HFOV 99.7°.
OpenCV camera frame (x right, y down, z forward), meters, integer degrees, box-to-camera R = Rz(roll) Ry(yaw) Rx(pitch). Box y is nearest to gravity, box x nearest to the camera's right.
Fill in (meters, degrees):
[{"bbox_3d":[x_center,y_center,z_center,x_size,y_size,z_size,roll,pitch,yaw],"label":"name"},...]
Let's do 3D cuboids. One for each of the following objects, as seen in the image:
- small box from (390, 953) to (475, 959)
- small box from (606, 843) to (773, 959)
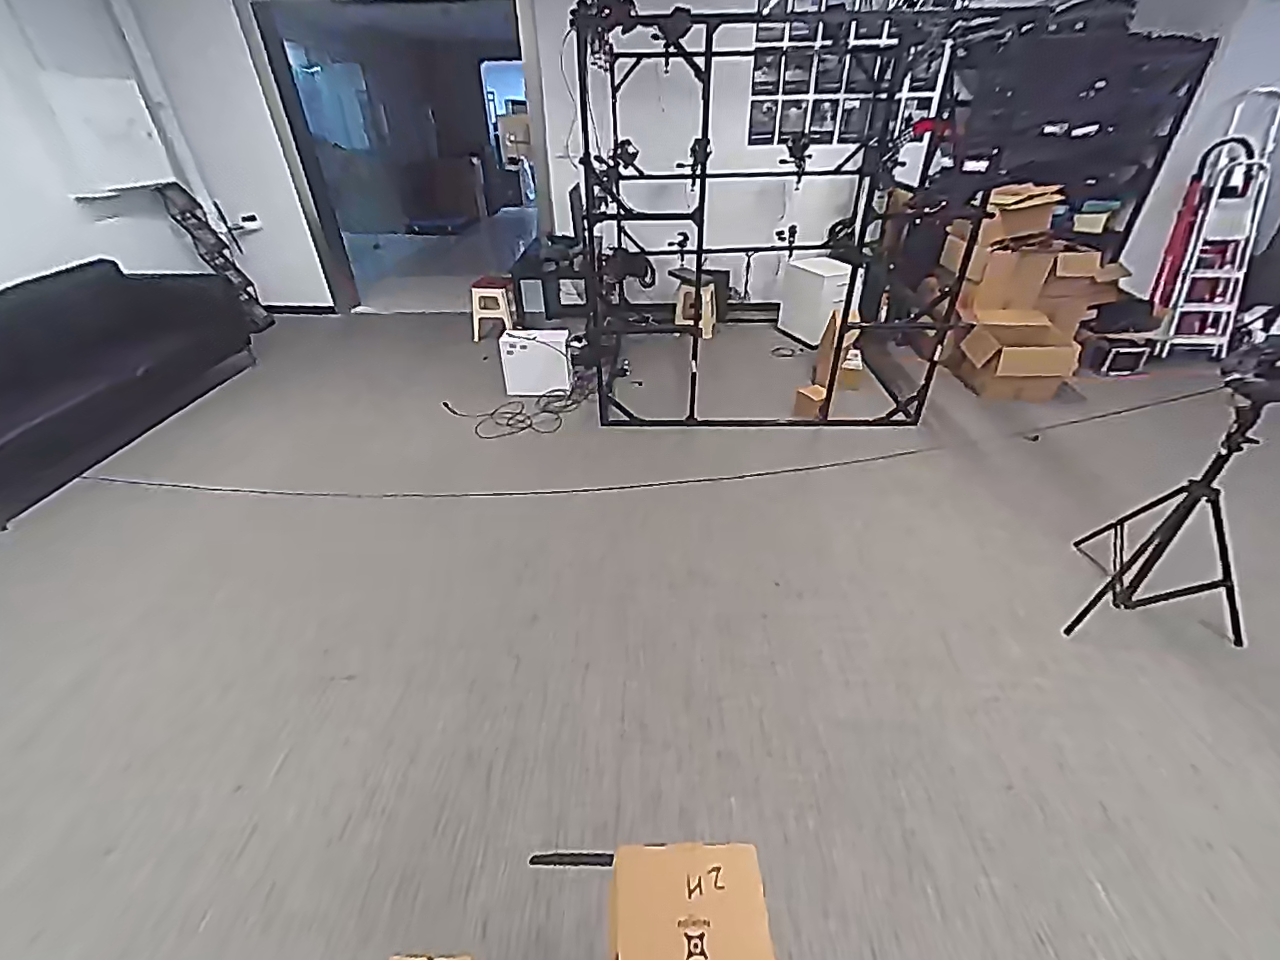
[{"bbox_3d":[-0.405,1.039,1.026,0.168,0.176,0.179,-1,35,2],"label":"small box"},{"bbox_3d":[0.049,0.543,0.613,0.168,0.176,0.179,3,36,-6],"label":"small box"}]
